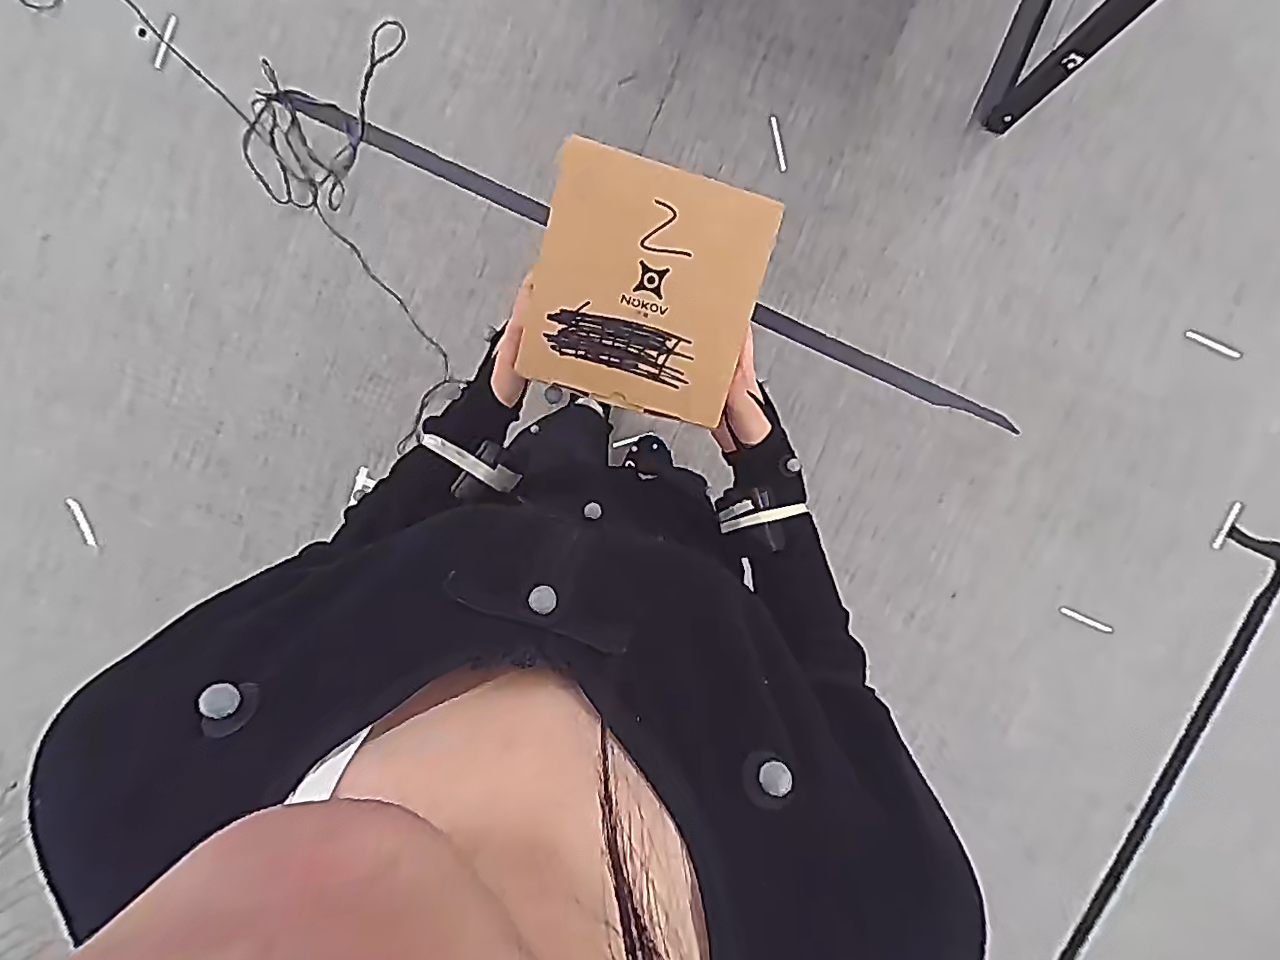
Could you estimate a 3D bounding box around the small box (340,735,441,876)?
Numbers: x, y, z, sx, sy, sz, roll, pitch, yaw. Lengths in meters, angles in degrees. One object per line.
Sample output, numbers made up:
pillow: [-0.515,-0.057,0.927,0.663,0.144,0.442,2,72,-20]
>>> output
small box: [-0.561,0.703,1.184,0.168,0.176,0.179,21,94,-1]
